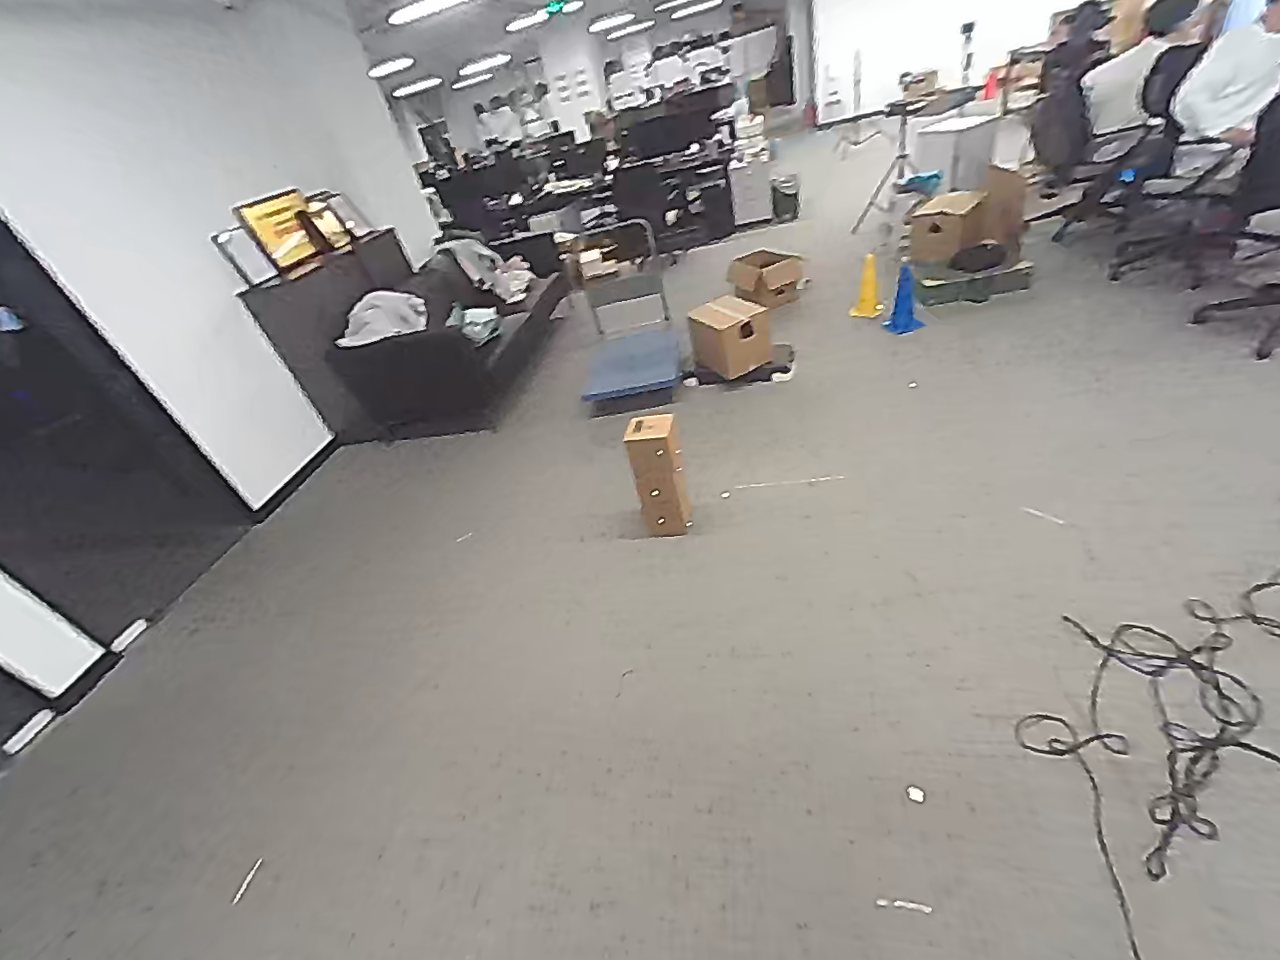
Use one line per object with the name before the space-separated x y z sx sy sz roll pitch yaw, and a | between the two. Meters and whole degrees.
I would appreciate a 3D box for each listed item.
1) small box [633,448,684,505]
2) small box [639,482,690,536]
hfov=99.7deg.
small box | 0.081 -0.008 2.220 0.168 0.176 0.179 -4 37 16
small box | 0.113 0.123 2.315 0.179 0.176 0.168 -5 37 17
